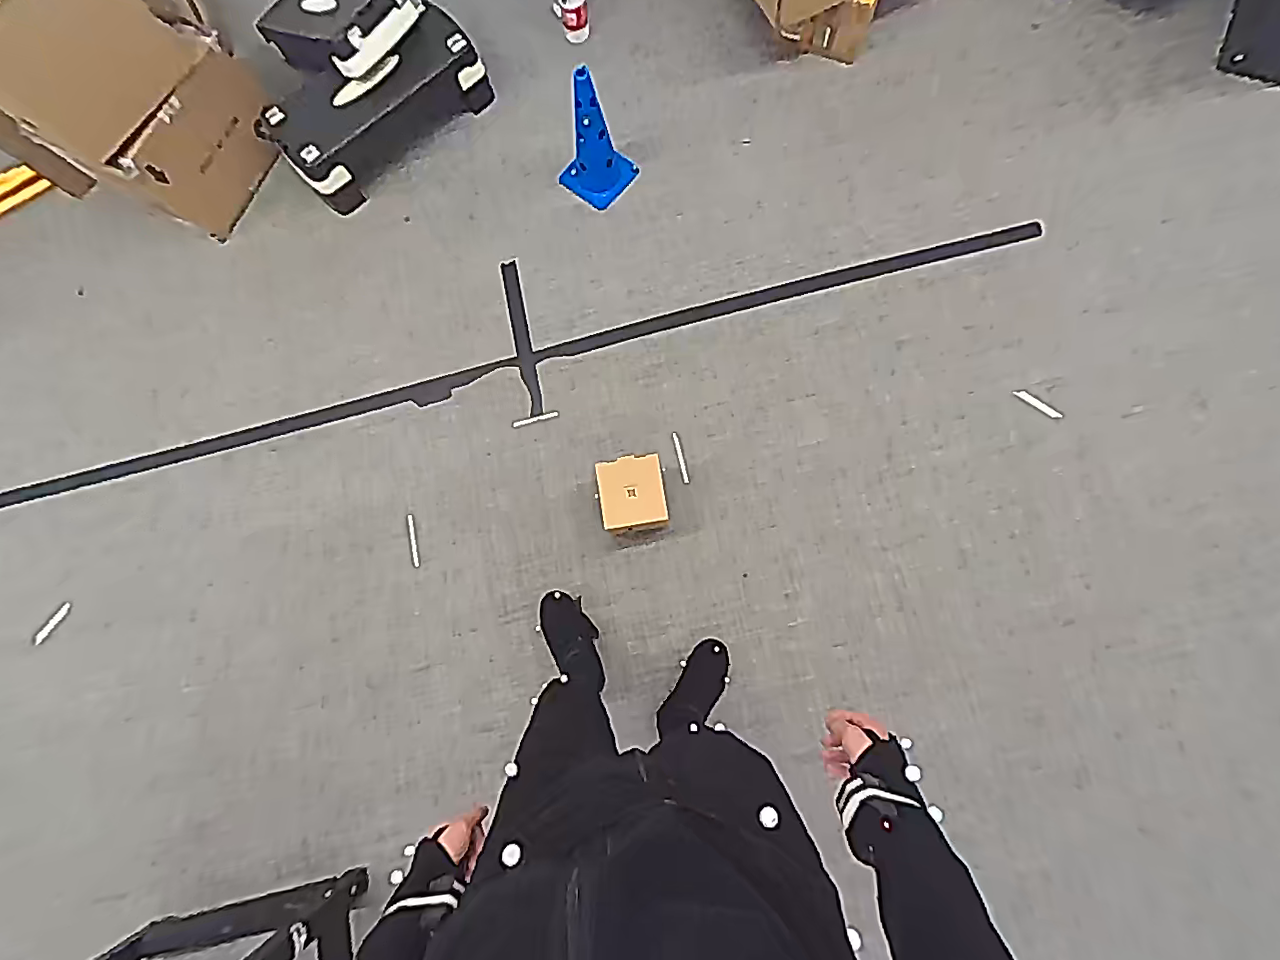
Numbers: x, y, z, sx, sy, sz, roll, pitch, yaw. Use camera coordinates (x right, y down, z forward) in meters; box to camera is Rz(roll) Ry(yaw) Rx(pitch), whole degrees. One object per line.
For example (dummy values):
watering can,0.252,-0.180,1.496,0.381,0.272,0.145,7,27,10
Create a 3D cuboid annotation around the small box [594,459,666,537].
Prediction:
small box,-0.022,0.056,1.455,0.168,0.176,0.179,-9,77,1
